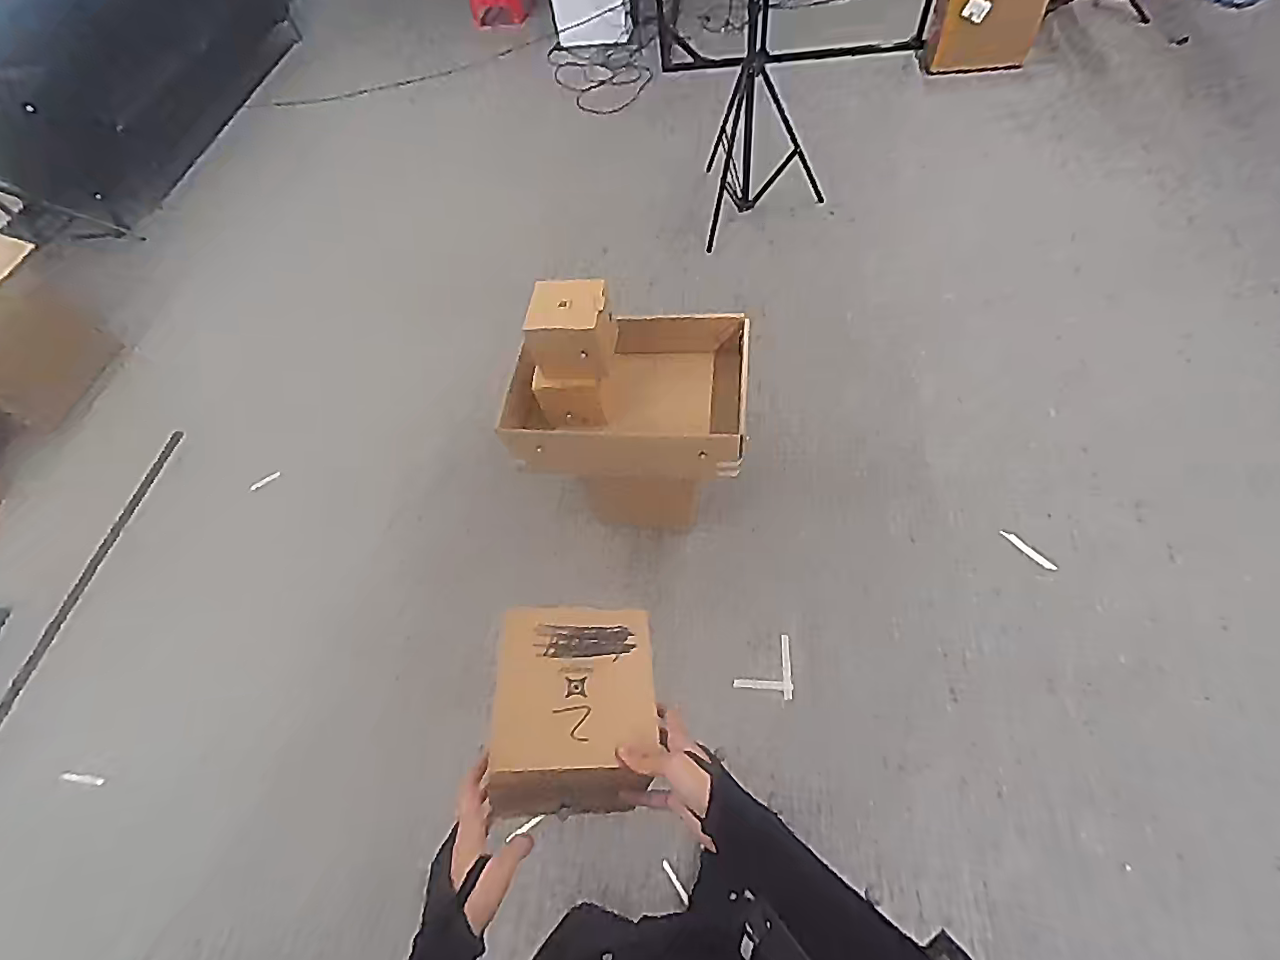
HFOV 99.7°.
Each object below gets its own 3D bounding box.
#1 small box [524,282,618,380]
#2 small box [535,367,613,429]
[{"bbox_3d":[-0.158,-0.358,1.318,0.179,0.176,0.168,2,59,10],"label":"small box"},{"bbox_3d":[-0.169,-0.257,1.452,0.168,0.176,0.179,-2,60,8],"label":"small box"}]
